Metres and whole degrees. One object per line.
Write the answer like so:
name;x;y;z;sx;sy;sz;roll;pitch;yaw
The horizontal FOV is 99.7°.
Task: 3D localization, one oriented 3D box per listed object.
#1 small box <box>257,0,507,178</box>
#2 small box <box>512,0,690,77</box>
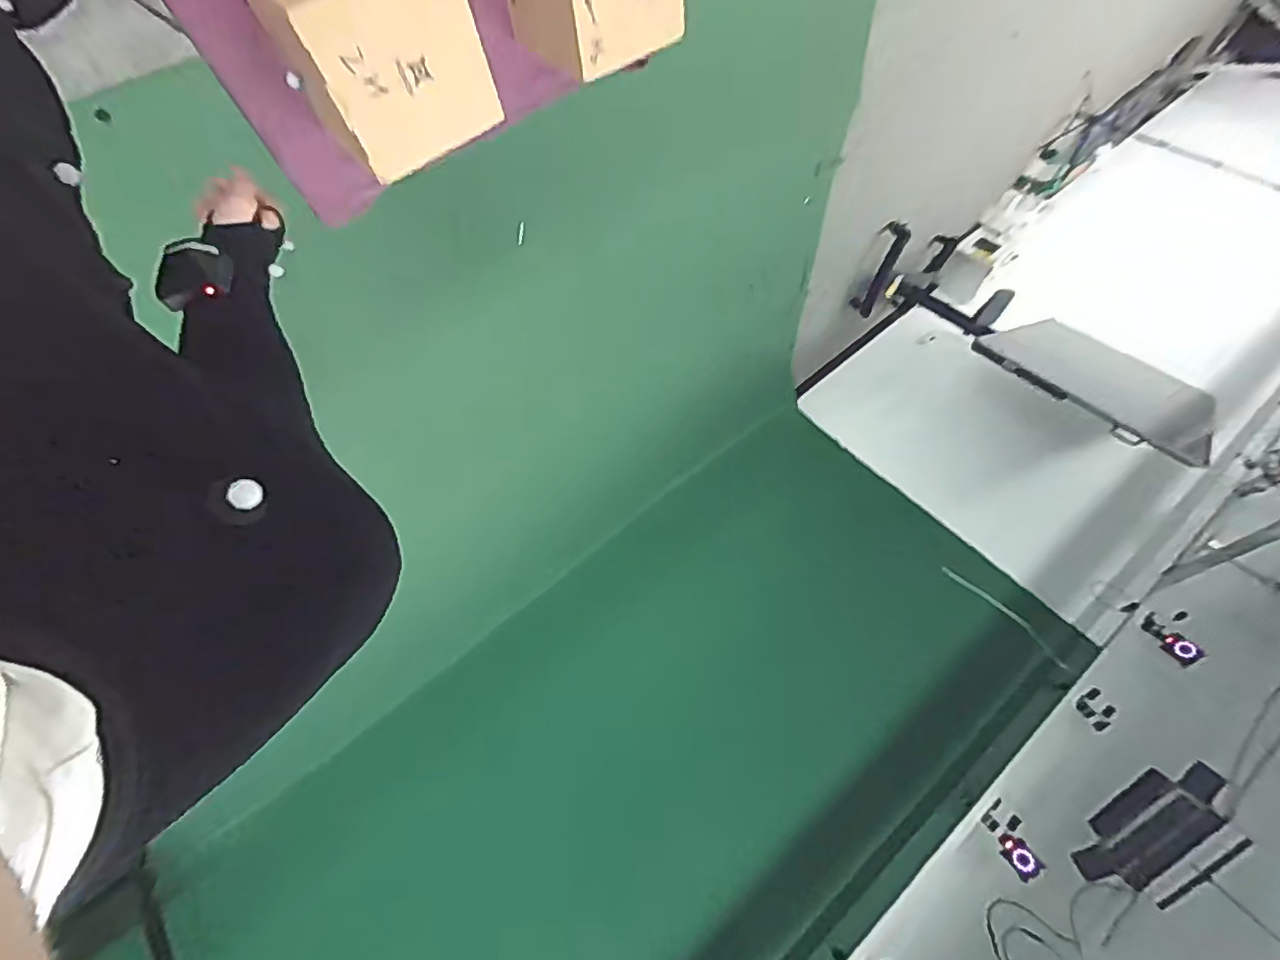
small box;-0.285;-0.485;0.602;0.179;0.176;0.168;-37;152;-13
small box;-0.055;-0.656;0.680;0.179;0.176;0.168;-36;152;-15
